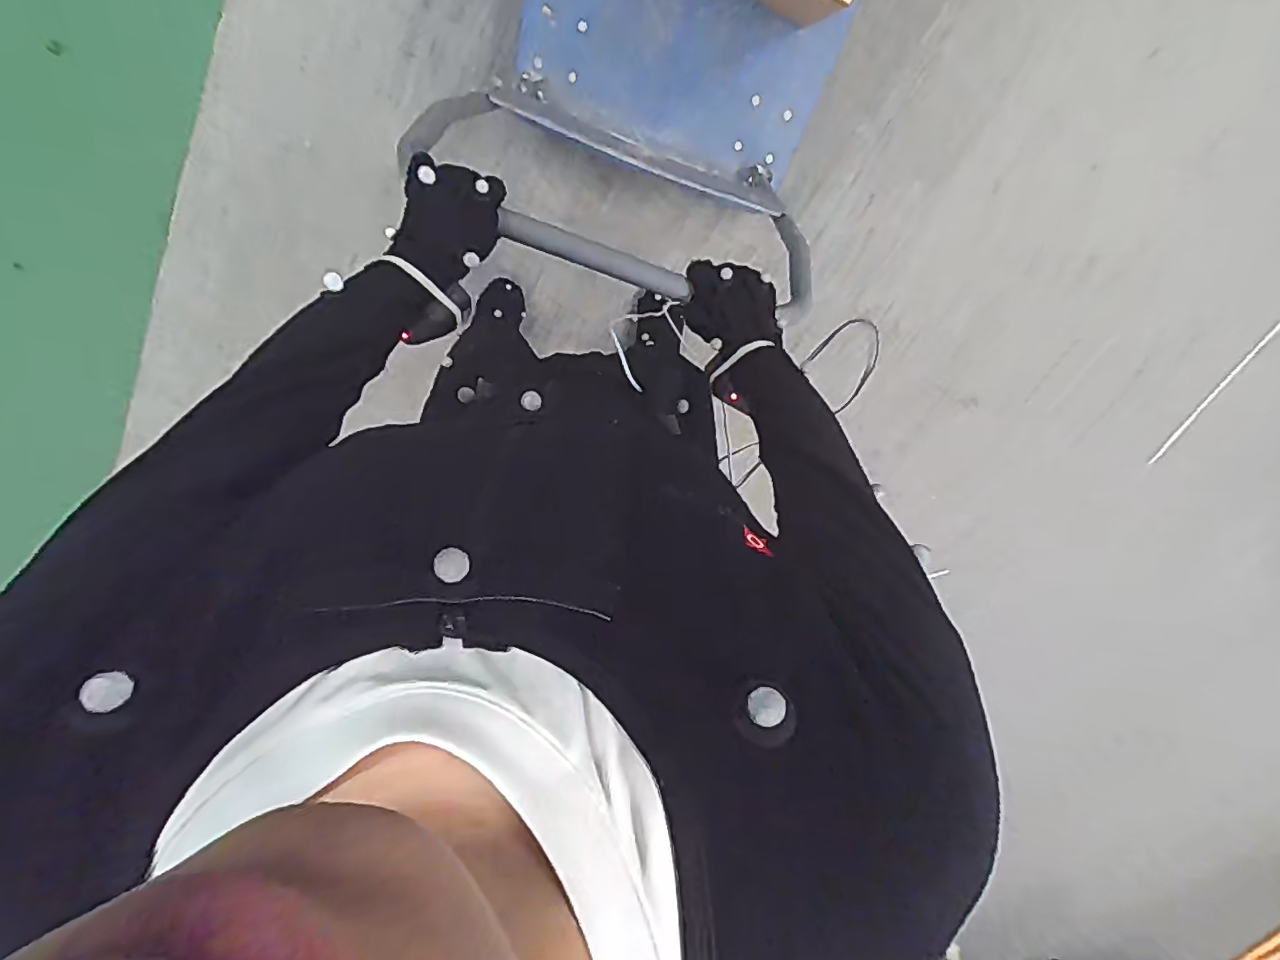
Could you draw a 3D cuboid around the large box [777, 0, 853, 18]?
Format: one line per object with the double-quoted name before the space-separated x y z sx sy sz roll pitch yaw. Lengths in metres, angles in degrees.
"large box" 0.182 -0.921 0.743 0.408 0.320 0.320 22 125 -10
